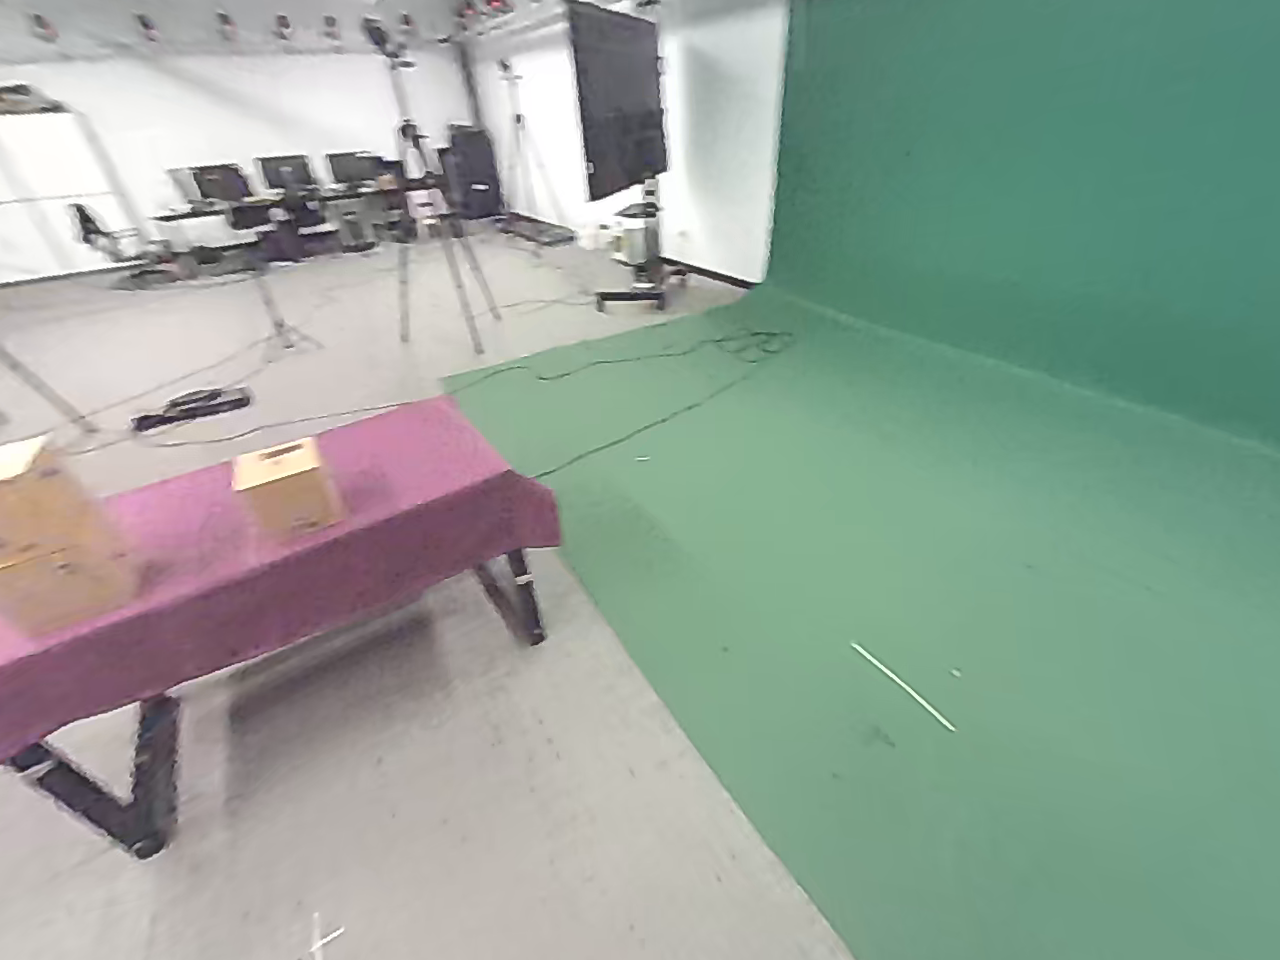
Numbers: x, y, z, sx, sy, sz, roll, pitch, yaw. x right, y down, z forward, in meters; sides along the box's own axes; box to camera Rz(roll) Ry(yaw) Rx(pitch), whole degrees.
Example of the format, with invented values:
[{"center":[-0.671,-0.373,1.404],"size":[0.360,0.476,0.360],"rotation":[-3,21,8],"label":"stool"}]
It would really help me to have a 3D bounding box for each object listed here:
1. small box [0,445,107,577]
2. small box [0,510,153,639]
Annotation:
[{"center":[-1.201,0.060,1.056],"size":[0.168,0.176,0.179],"rotation":[-22,39,-23],"label":"small box"},{"center":[-1.182,0.197,1.142],"size":[0.179,0.176,0.168],"rotation":[-22,37,-23],"label":"small box"}]
